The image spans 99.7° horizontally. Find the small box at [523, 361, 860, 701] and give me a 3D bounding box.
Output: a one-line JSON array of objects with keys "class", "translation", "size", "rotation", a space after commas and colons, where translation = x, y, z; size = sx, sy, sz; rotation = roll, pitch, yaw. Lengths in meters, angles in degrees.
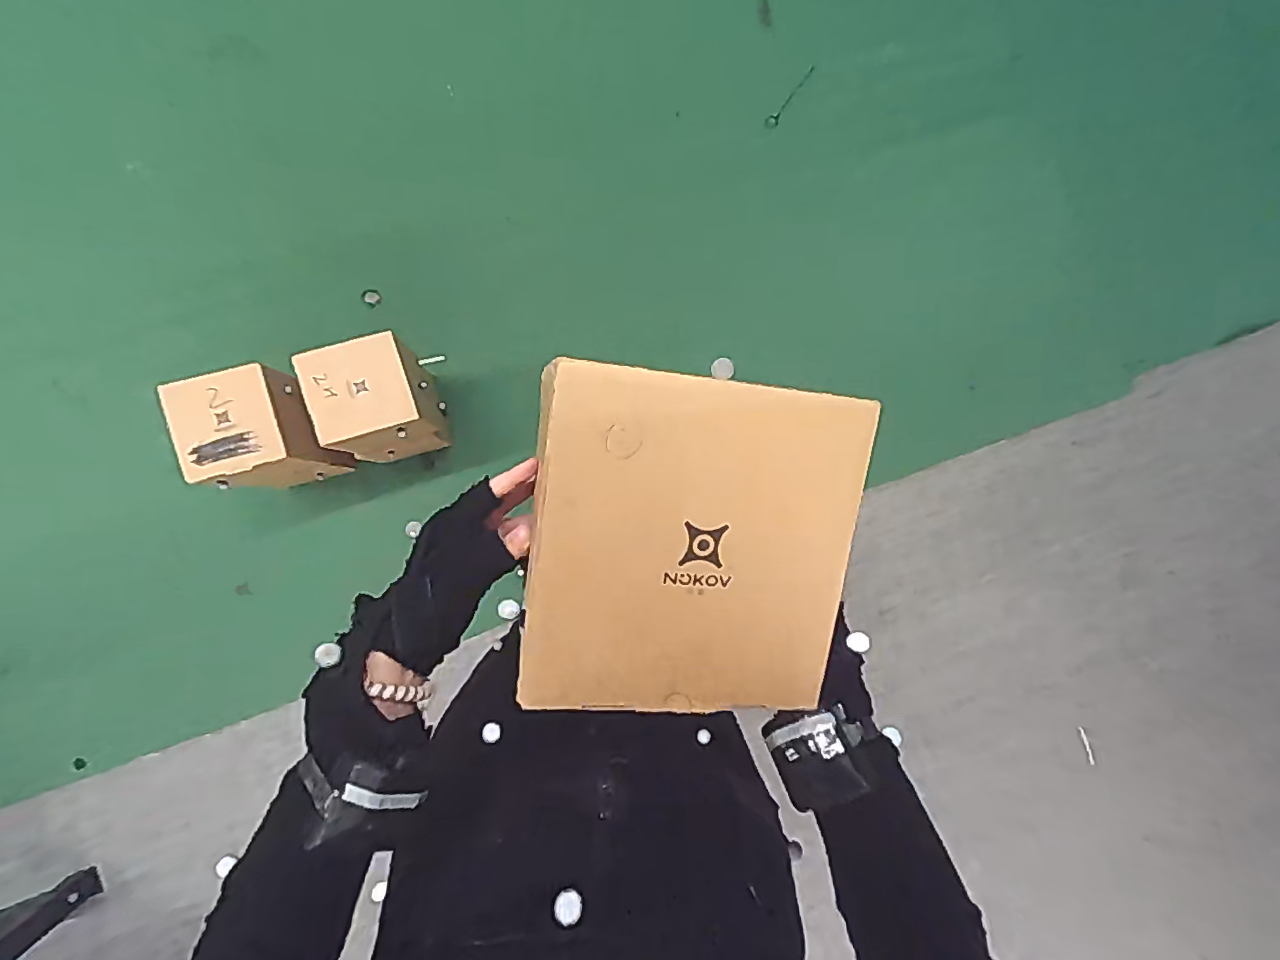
[{"class": "small box", "translation": [0.012, 0.020, 0.359], "size": [0.168, 0.176, 0.179], "rotation": [5, 101, -12]}]
